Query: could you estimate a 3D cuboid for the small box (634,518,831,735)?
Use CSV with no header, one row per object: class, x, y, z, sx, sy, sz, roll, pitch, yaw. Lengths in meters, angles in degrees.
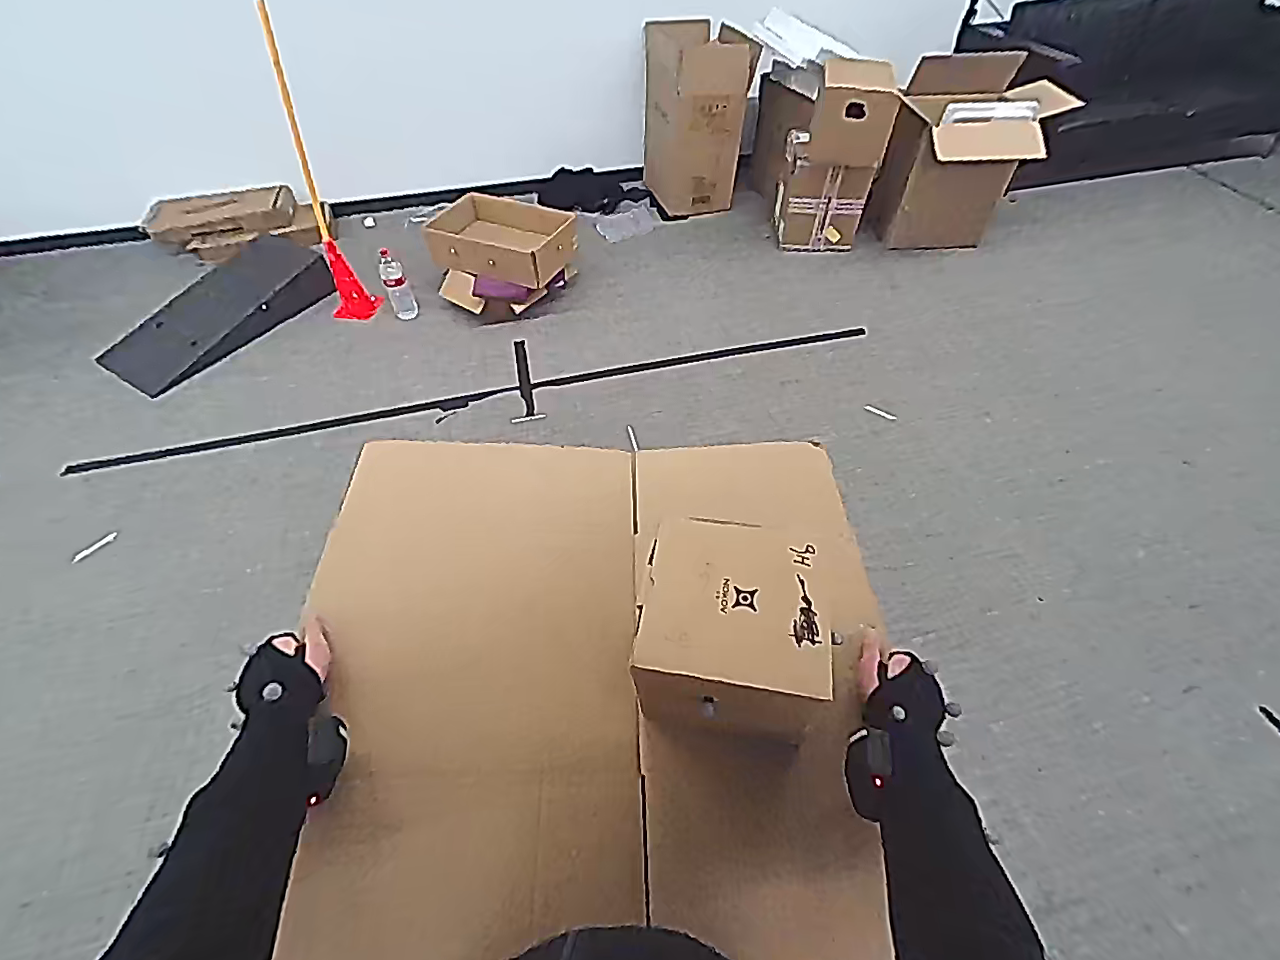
small box,0.102,0.161,0.584,0.179,0.176,0.168,5,54,11
